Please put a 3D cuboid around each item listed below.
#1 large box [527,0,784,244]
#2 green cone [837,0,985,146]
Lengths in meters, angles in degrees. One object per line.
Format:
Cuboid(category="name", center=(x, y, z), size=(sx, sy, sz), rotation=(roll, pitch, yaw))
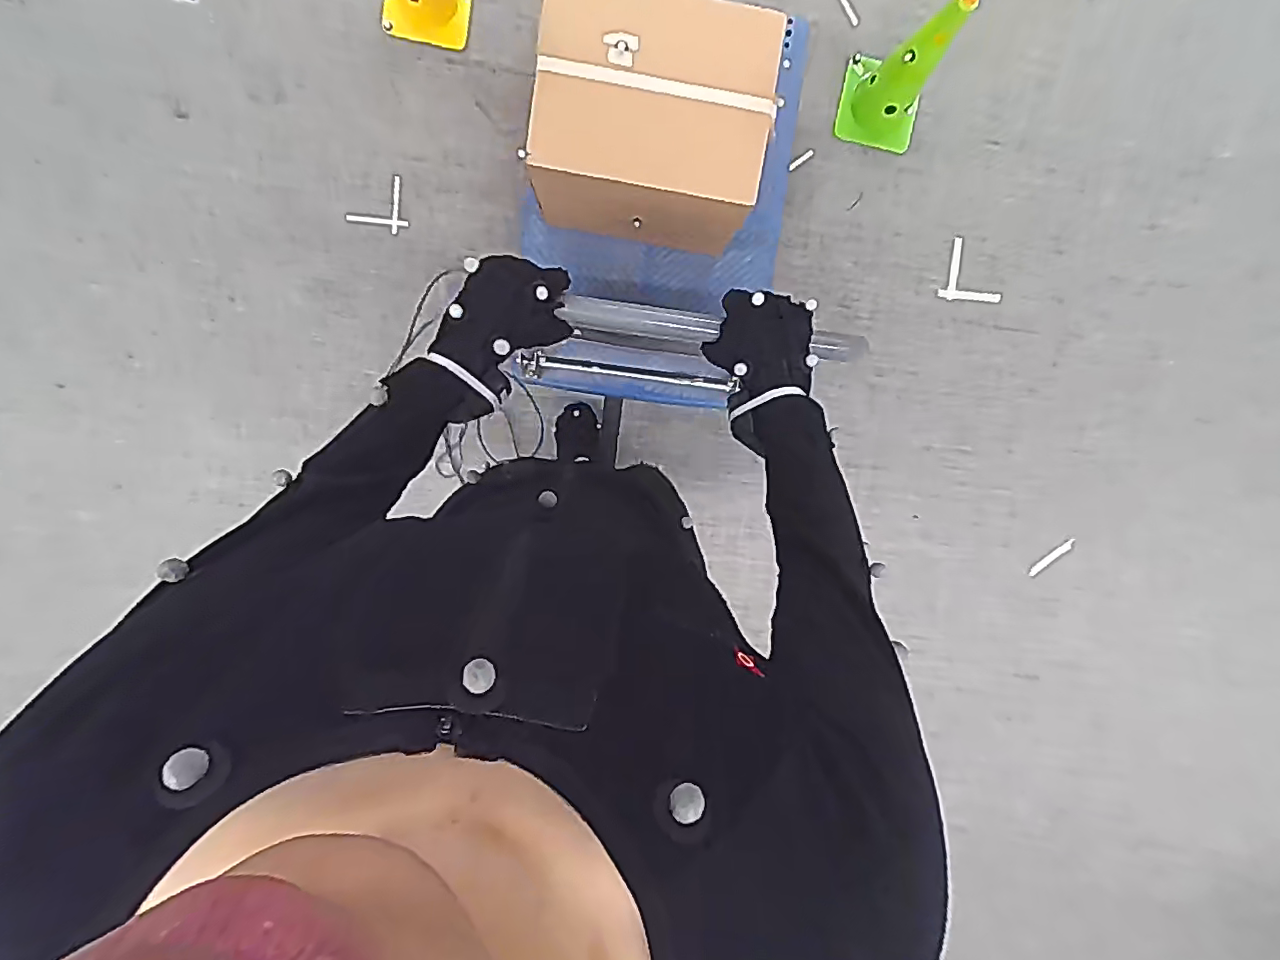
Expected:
Cuboid(category="large box", center=(0.022, -0.686, 1.056), size=(0.408, 0.320, 0.320), rotation=(9, 97, -3))
Cuboid(category="green cone", center=(0.621, -0.945, 1.198), size=(0.202, 0.368, 0.200), rotation=(10, 97, -6))
